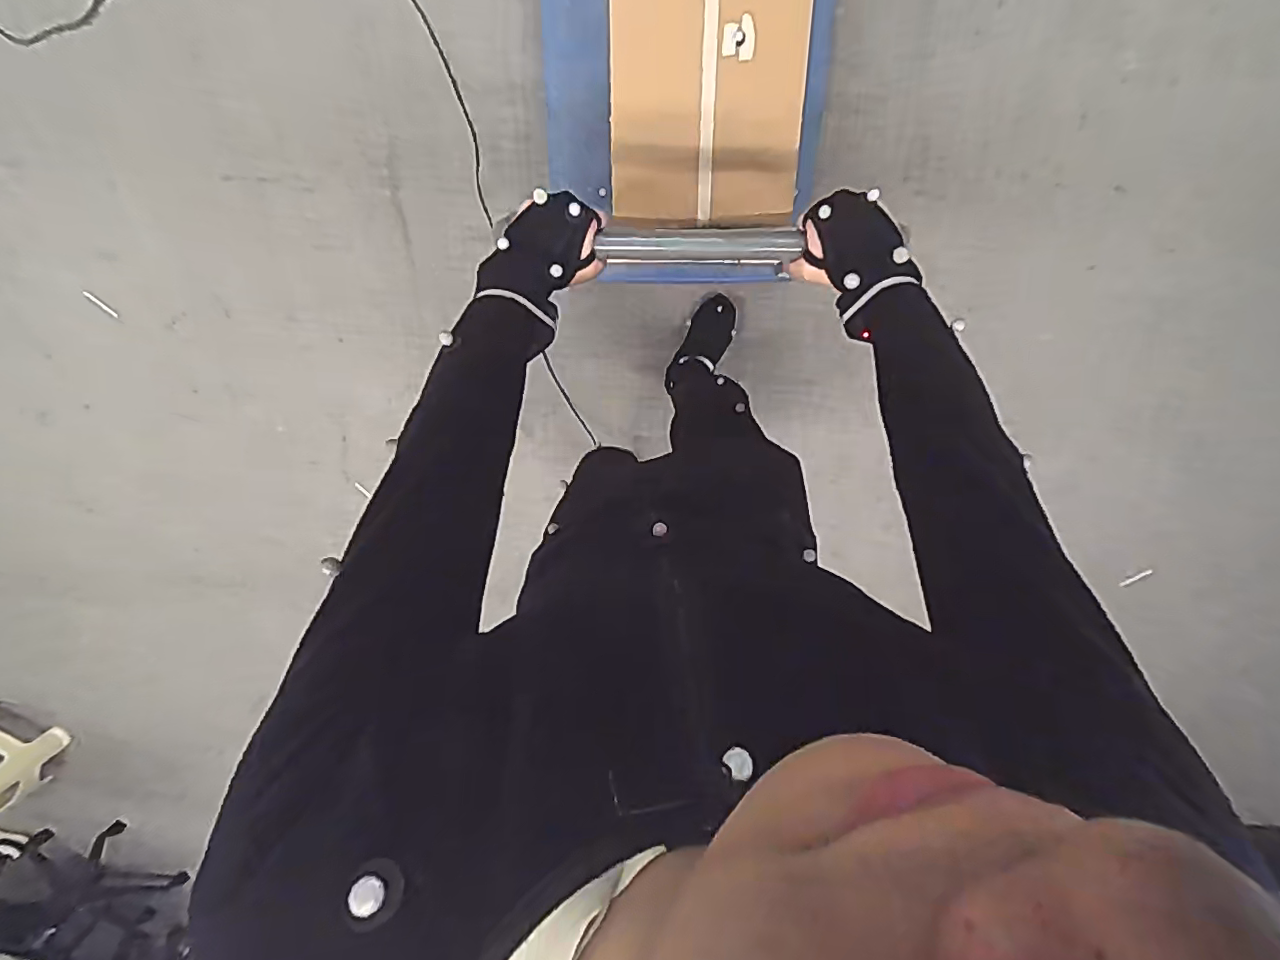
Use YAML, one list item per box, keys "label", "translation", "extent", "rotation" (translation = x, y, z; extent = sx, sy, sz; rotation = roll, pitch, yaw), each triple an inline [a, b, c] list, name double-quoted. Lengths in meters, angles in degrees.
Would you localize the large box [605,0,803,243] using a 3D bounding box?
- label: "large box"
  translation: [0.108, -0.680, 1.021]
  extent: [0.320, 0.320, 0.408]
  rotation: [0, 110, 2]
